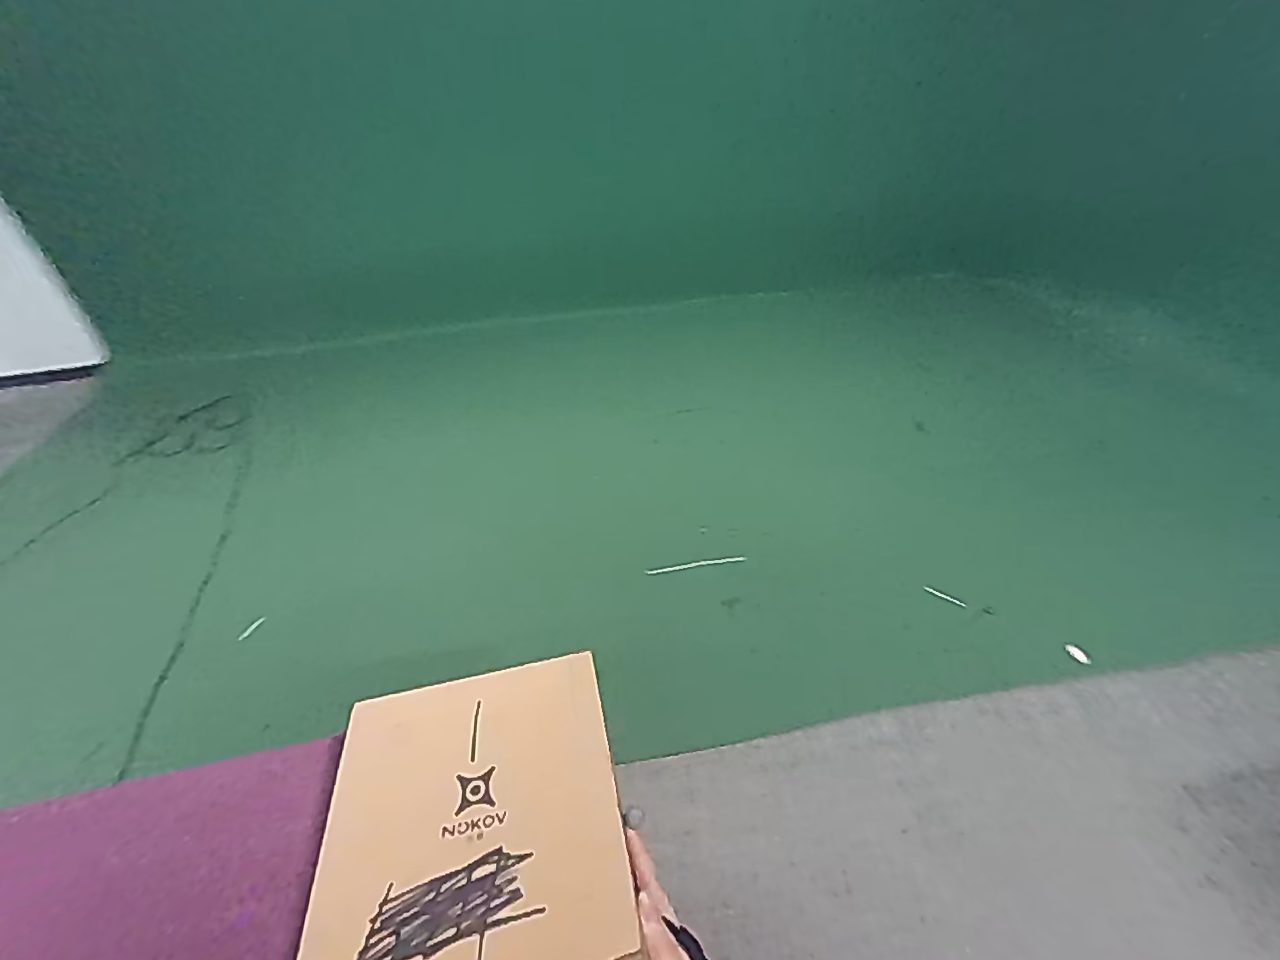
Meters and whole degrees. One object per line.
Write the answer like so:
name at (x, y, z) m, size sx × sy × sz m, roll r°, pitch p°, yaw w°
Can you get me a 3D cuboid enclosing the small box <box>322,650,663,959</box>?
small box at (-0.080, 0.250, 0.364) m, size 0.168 × 0.176 × 0.179 m, roll -9°, pitch 38°, yaw -7°
